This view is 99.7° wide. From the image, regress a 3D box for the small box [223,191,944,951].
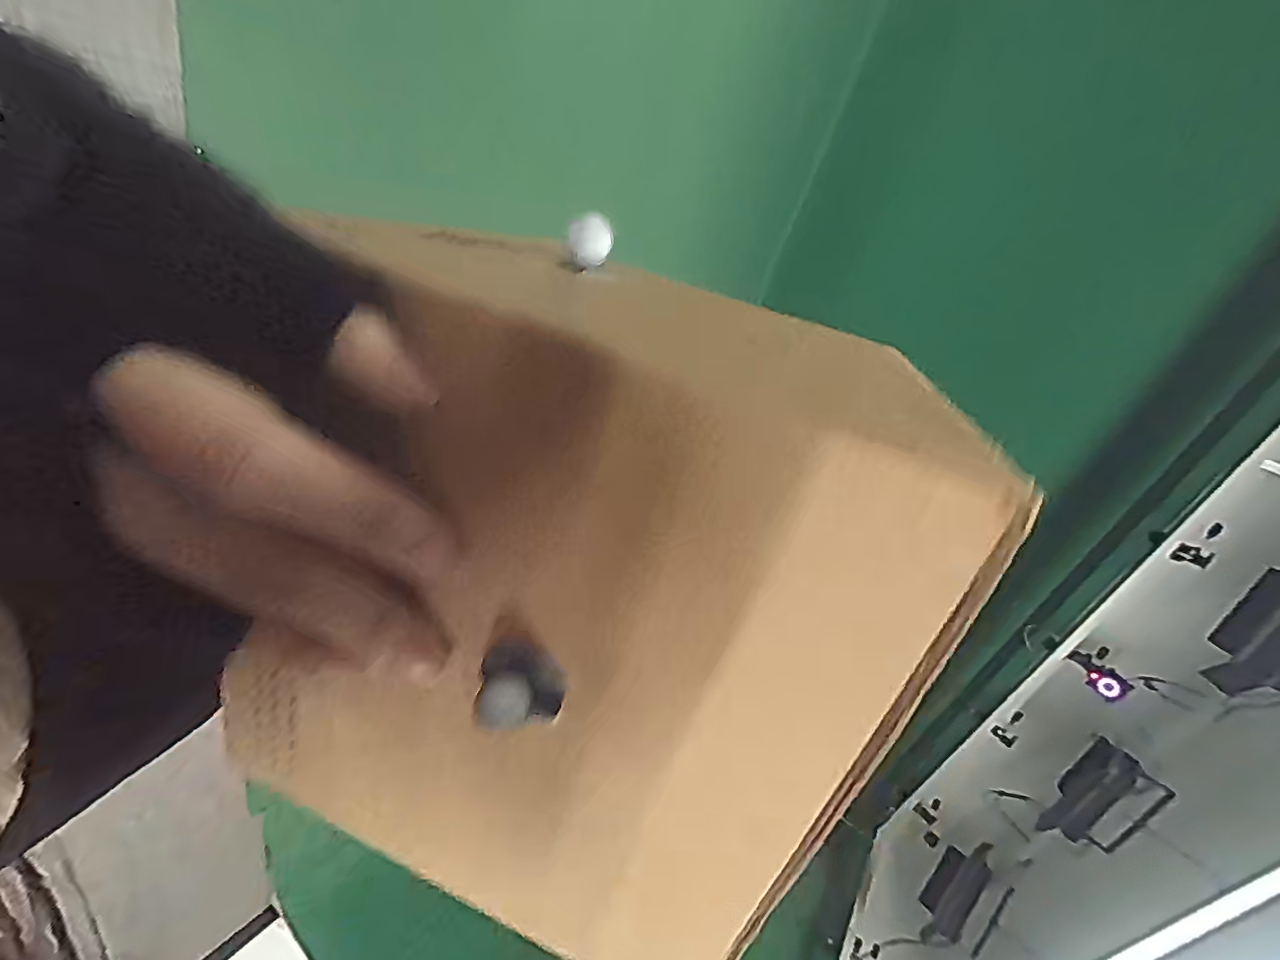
[{"bbox_3d":[-0.023,0.013,0.214,0.168,0.176,0.179,-50,159,-65],"label":"small box"}]
